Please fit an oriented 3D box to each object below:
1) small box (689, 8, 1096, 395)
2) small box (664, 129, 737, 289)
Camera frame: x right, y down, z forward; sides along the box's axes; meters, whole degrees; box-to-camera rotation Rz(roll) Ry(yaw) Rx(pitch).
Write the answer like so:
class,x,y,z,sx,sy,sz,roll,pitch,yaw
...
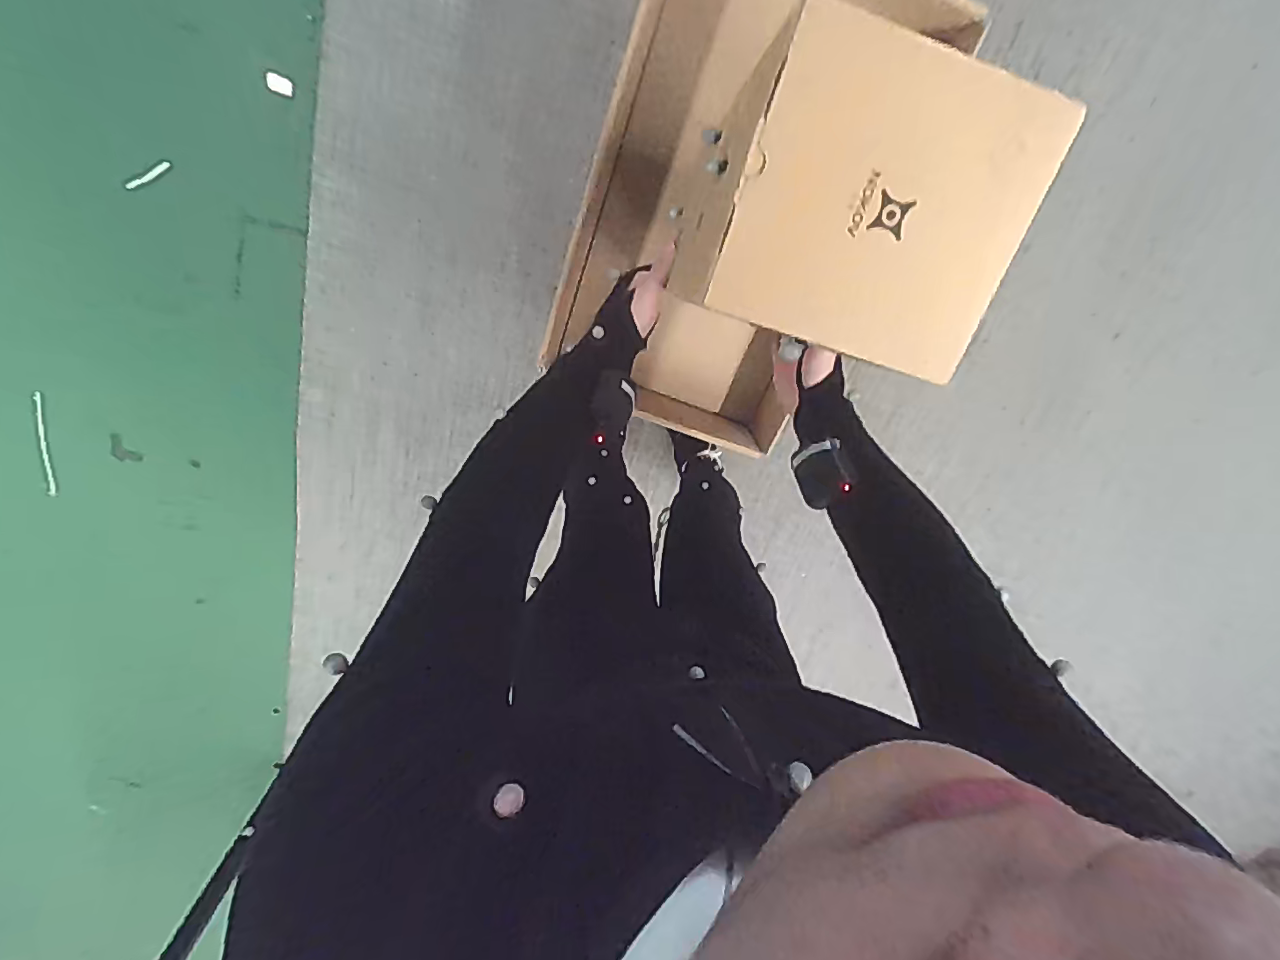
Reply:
class,x,y,z,sx,sy,sz,roll,pitch,yaw
small box,0.147,-0.179,0.390,0.179,0.176,0.168,16,111,-7
small box,0.141,-0.309,0.690,0.179,0.176,0.168,17,109,-8
